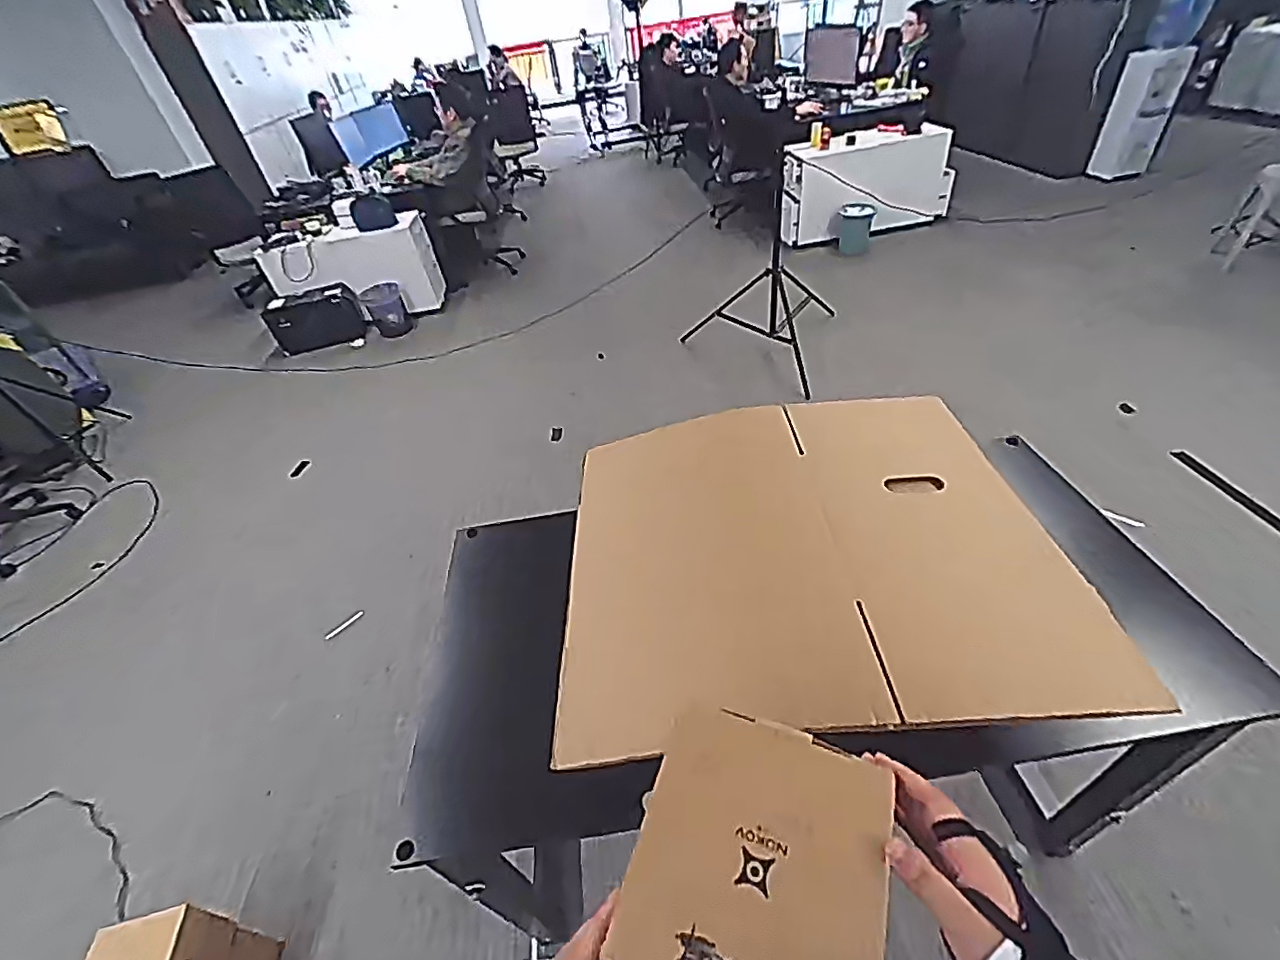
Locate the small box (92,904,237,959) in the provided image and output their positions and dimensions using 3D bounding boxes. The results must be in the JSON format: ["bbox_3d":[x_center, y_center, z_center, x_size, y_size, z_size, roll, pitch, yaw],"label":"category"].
[{"bbox_3d":[-0.922,0.958,1.035,0.168,0.176,0.179,-14,40,-6],"label":"small box"}]

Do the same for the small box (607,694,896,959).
[{"bbox_3d":[0.088,0.308,0.429,0.168,0.176,0.179,13,50,17],"label":"small box"}]

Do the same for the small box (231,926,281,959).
[{"bbox_3d":[-0.898,1.082,1.137,0.168,0.176,0.179,-12,42,-3],"label":"small box"}]
